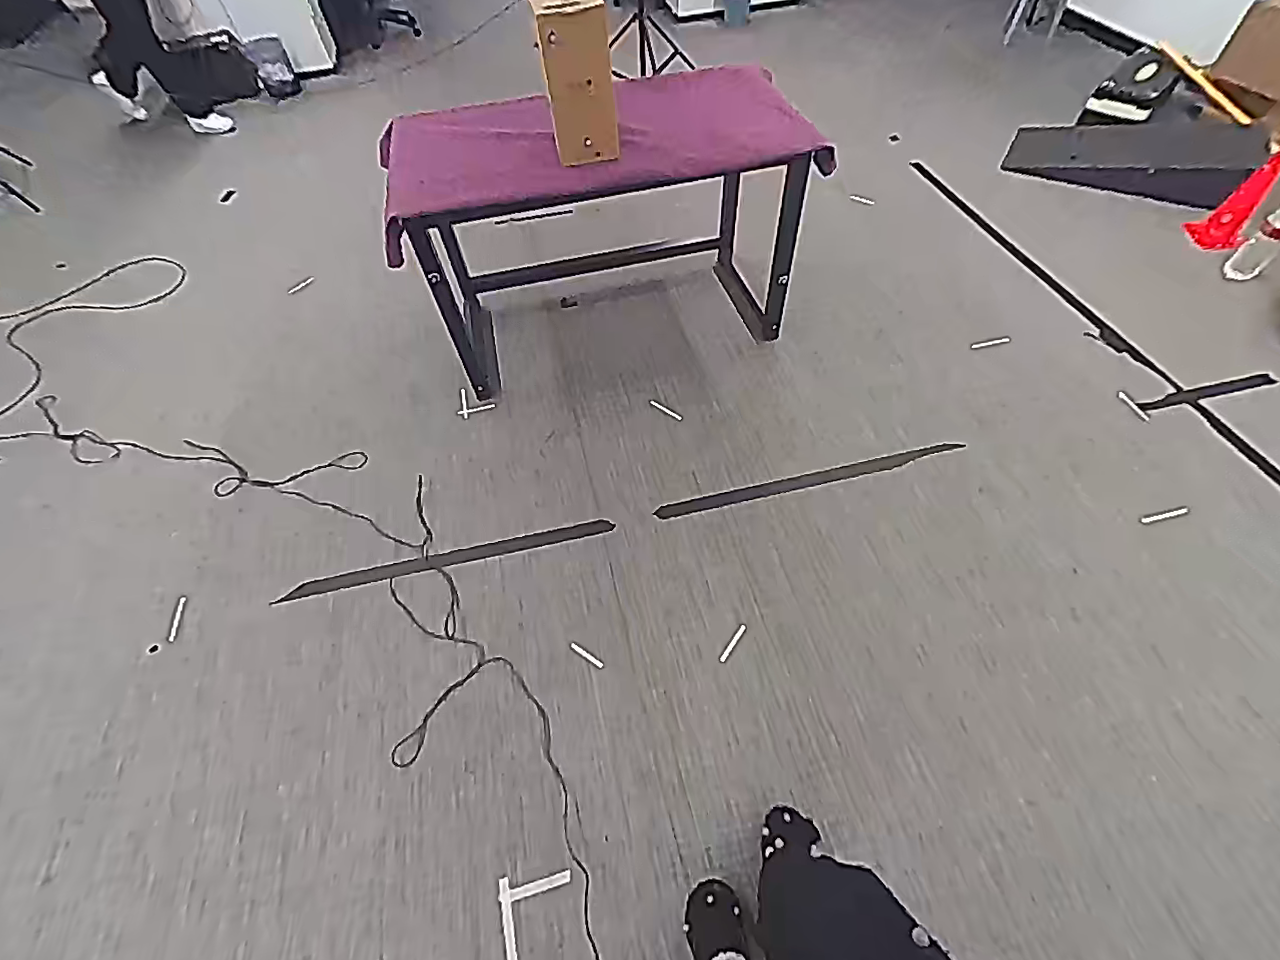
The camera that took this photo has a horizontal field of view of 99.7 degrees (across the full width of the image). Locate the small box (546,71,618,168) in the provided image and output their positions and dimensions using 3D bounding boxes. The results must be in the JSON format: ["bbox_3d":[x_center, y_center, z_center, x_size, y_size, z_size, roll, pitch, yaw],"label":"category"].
[{"bbox_3d":[-0.160,-0.996,1.497,0.168,0.176,0.179,-11,54,-3],"label":"small box"}]
